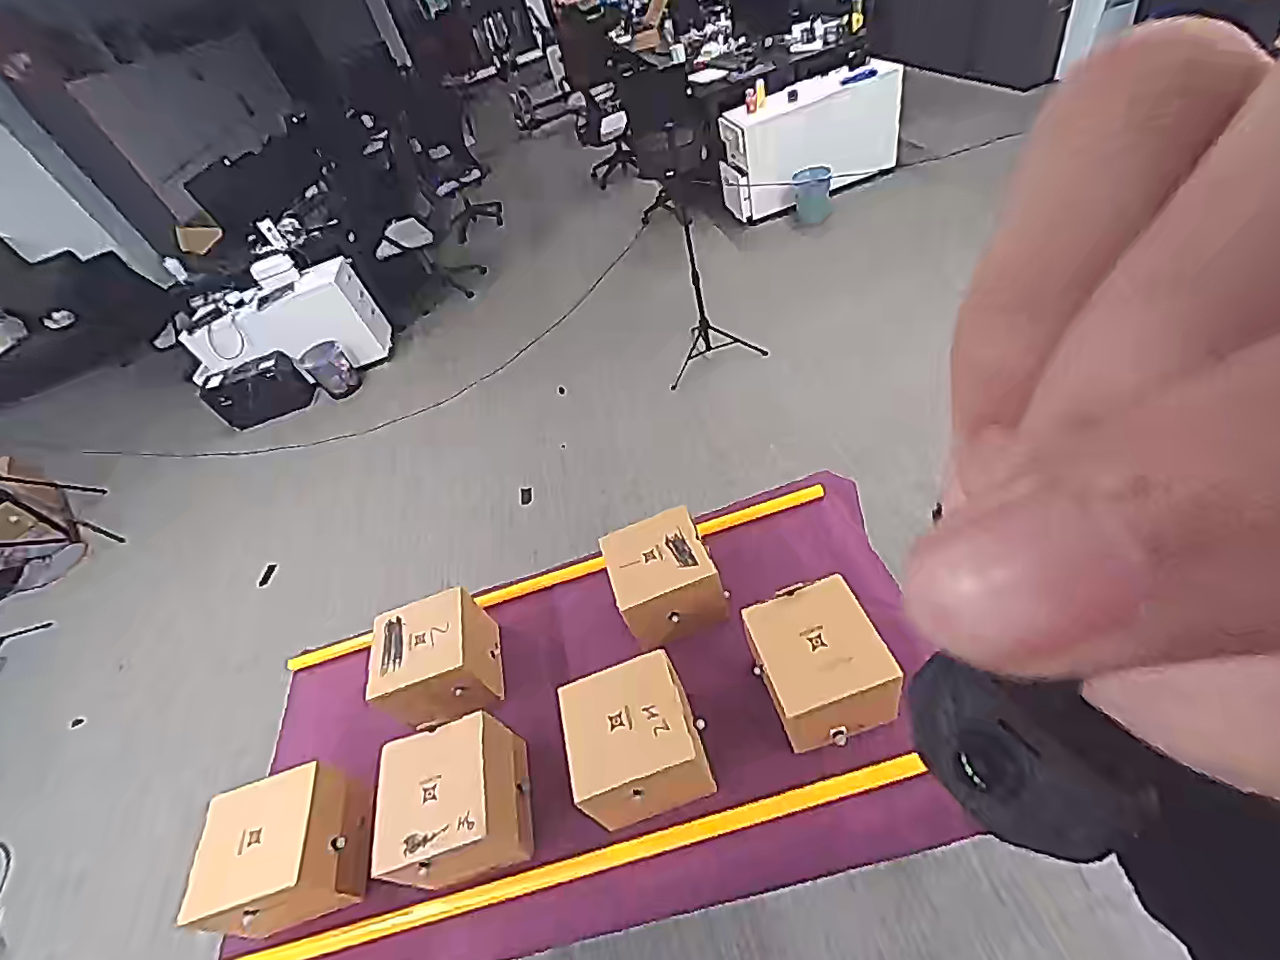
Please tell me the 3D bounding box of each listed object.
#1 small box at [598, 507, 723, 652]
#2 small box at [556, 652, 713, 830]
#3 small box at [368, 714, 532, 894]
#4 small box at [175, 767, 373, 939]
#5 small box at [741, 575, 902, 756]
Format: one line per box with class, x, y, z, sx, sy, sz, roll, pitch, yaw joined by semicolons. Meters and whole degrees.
small box;0.043;0.185;0.992;0.179;0.176;0.168;-22;46;0
small box;-0.007;0.396;0.813;0.179;0.176;0.168;-21;44;0
small box;-0.277;0.493;0.821;0.168;0.176;0.179;-21;44;2
small box;-0.543;0.579;0.837;0.179;0.176;0.168;-20;45;0
small box;0.269;0.282;0.818;0.168;0.176;0.179;-22;43;2
